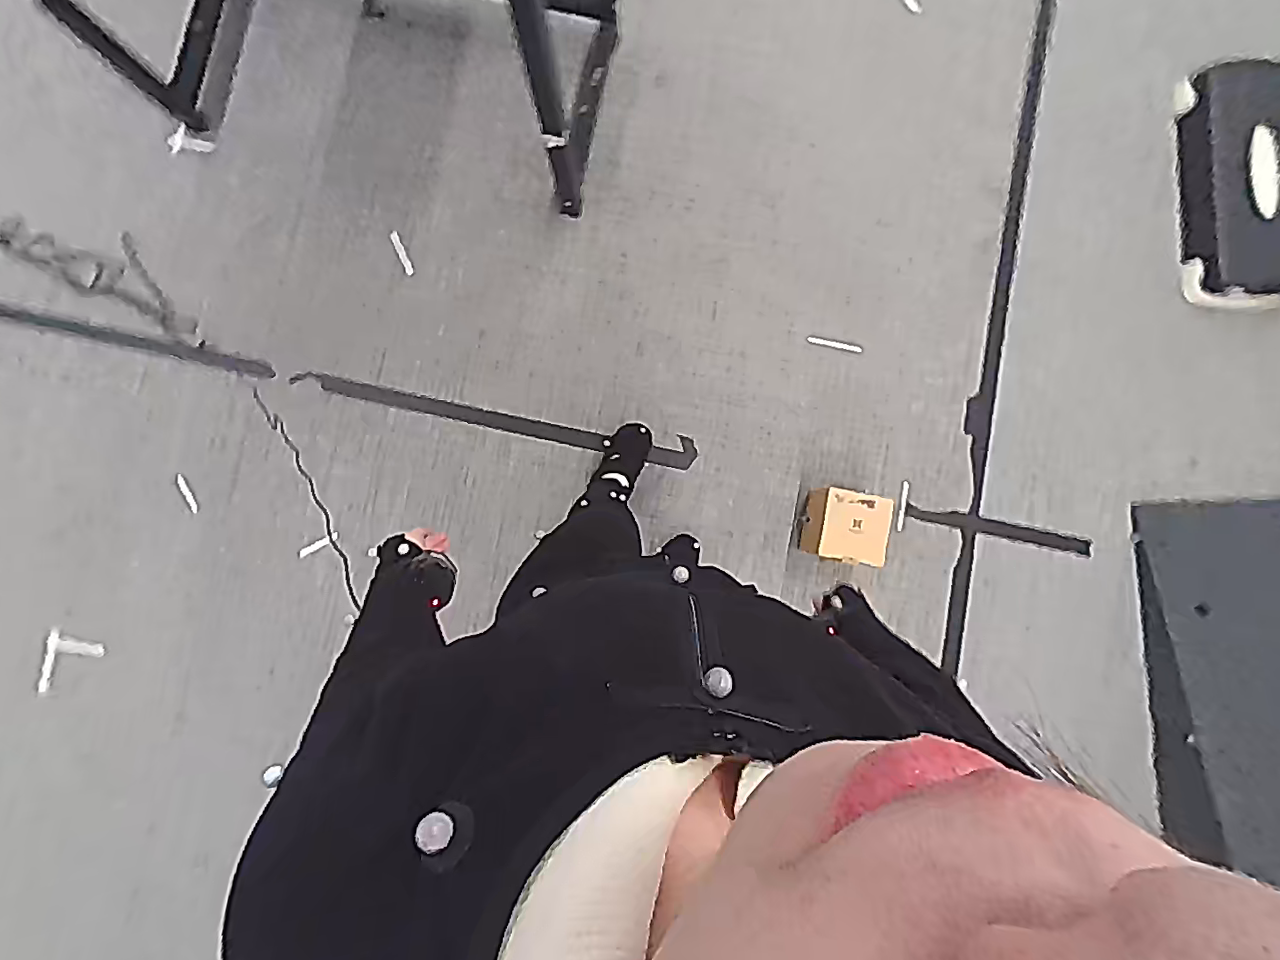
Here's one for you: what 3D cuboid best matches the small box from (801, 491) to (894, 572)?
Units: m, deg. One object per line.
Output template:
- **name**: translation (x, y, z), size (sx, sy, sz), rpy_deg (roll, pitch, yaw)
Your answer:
- **small box**: translation (0.534, 0.130, 1.415), size (0.168, 0.176, 0.179), rpy_deg (12, 88, 1)
